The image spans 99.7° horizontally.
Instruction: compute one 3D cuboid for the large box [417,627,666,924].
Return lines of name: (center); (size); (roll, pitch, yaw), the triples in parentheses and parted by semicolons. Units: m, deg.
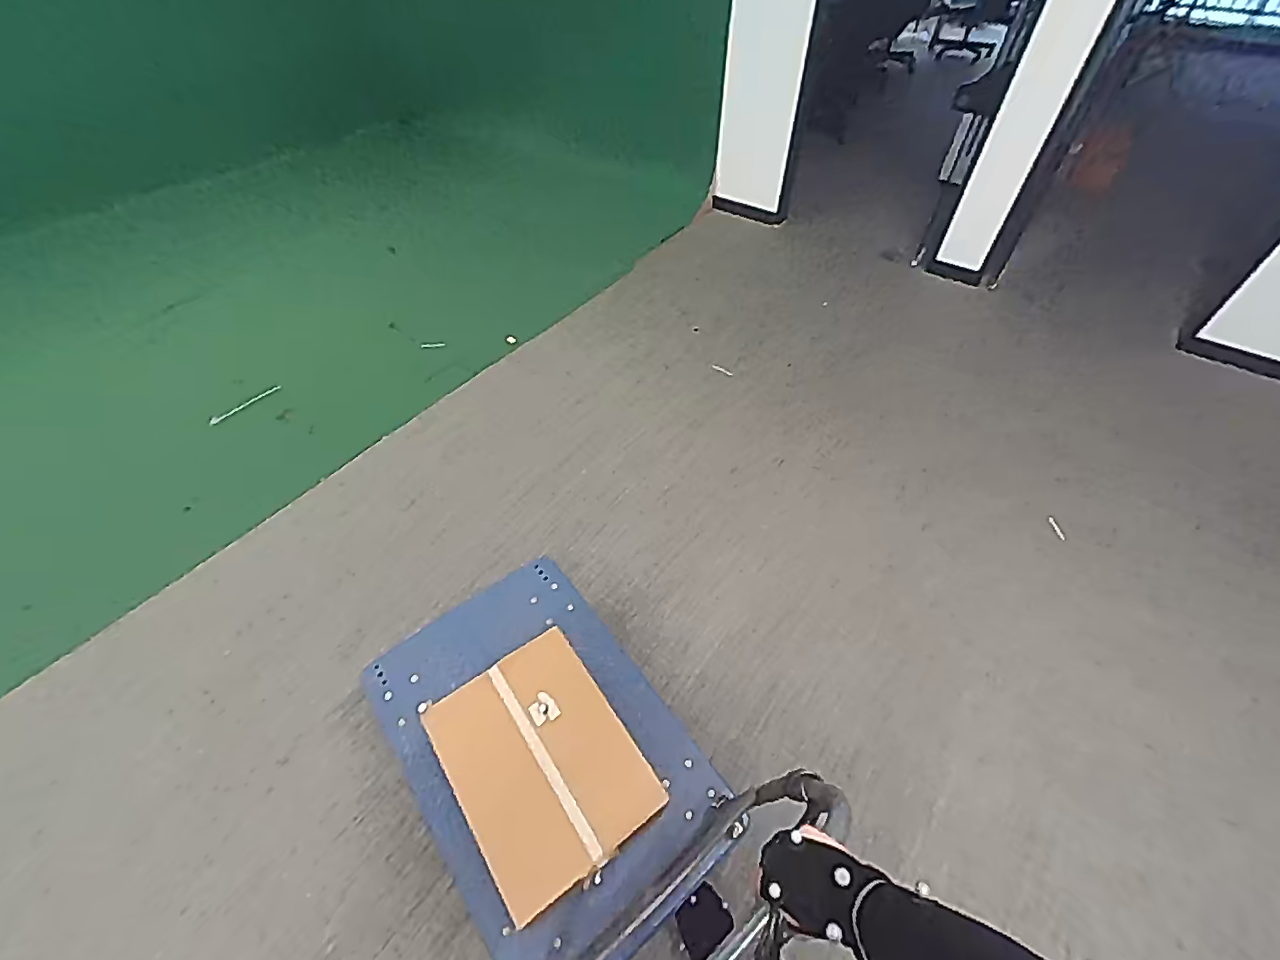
large box: (-0.192, 0.597, 1.119); (0.320, 0.320, 0.408); (-29, 59, -23)
